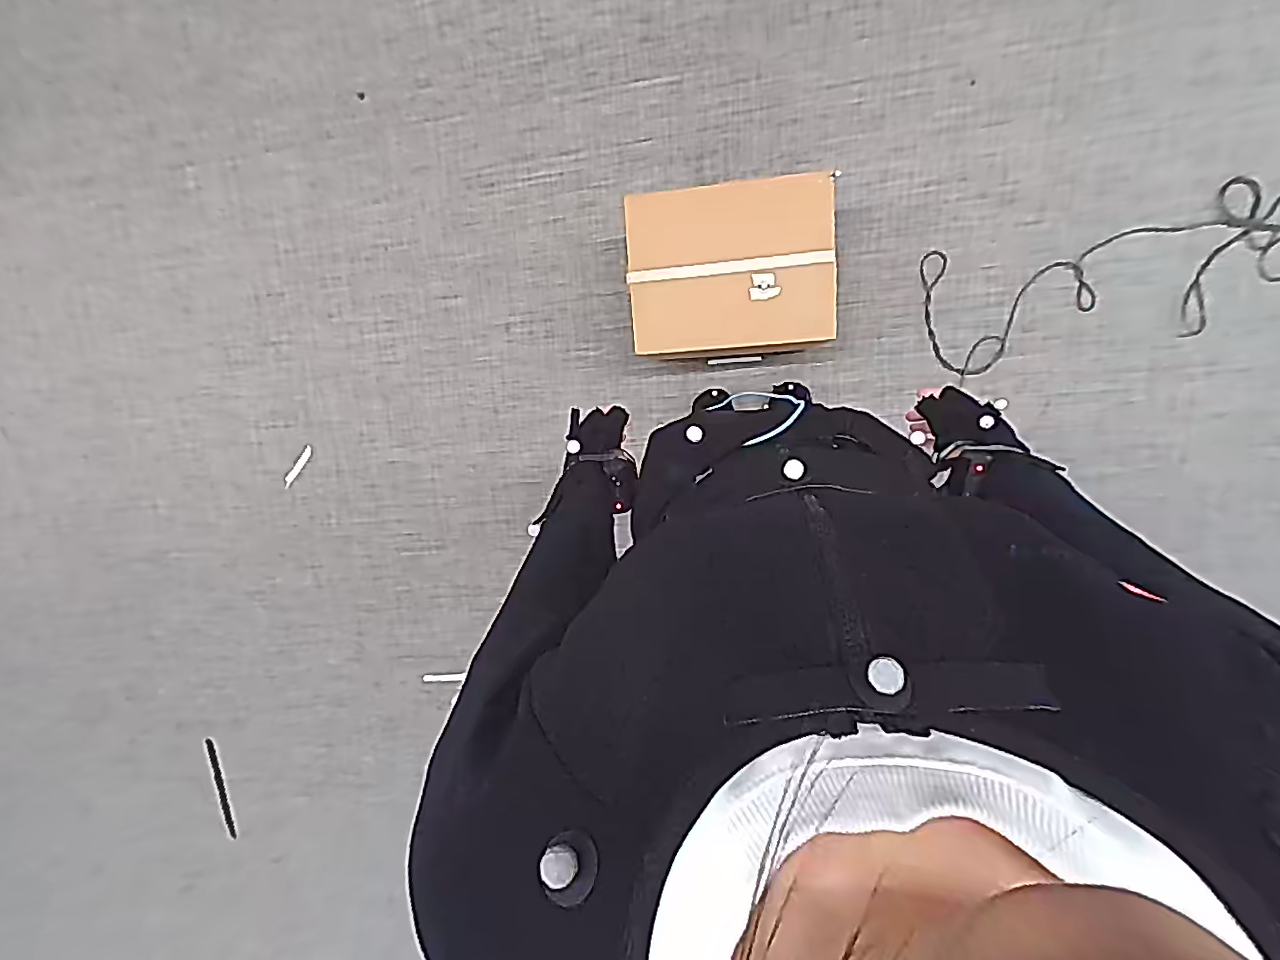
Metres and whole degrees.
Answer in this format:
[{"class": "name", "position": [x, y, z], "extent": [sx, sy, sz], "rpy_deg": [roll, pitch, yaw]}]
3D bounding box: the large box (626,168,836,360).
[{"class": "large box", "position": [0.199, -0.452, 1.219], "extent": [0.408, 0.320, 0.320], "rpy_deg": [-3, 100, 8]}]
